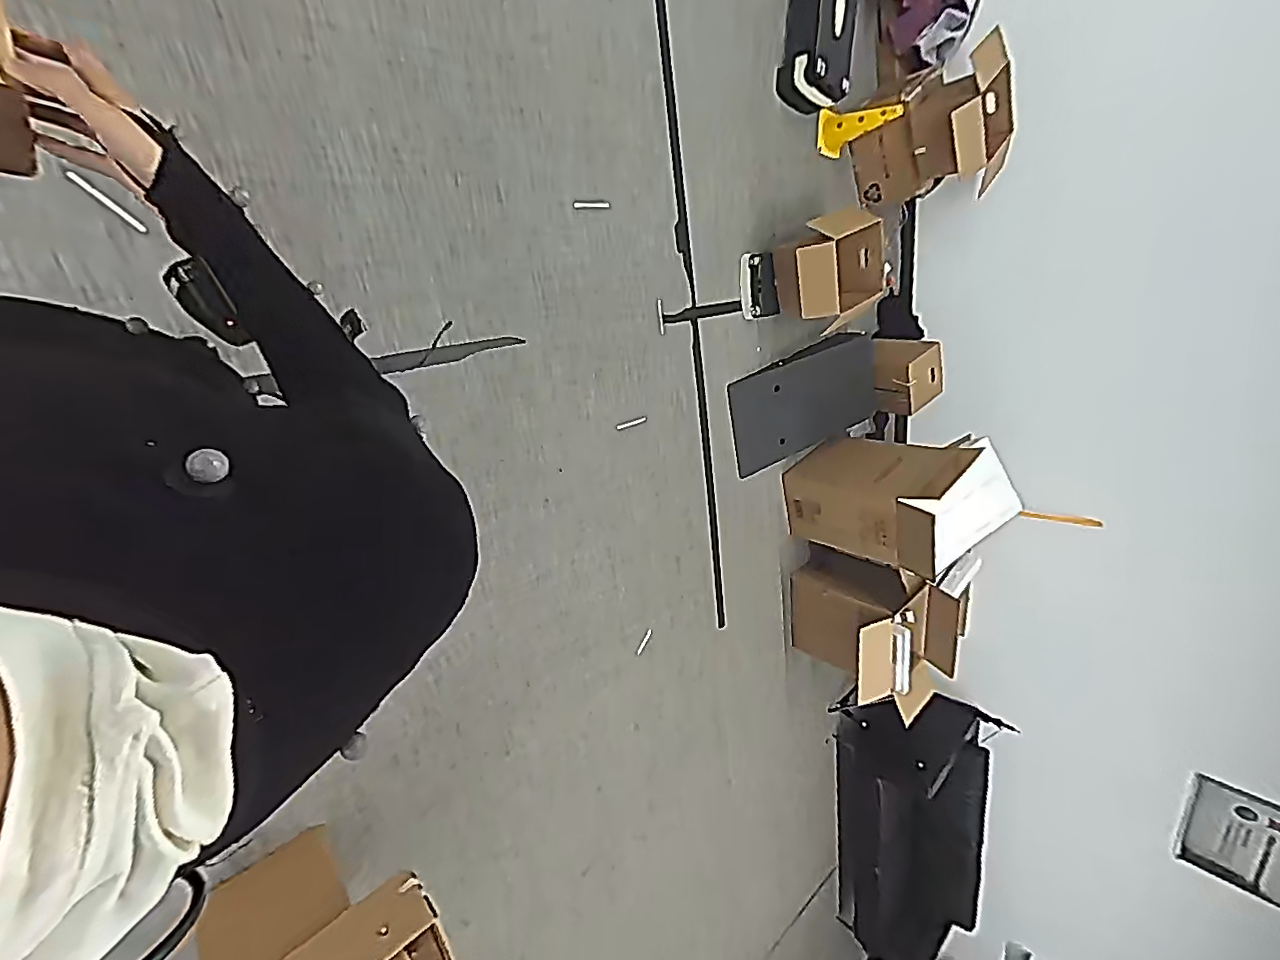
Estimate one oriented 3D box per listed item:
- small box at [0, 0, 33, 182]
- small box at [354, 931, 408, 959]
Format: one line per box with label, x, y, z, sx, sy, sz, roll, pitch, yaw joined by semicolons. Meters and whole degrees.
small box;-0.571;-0.350;0.382;0.168;0.176;0.179;-12;98;-45
small box;-0.647;1.283;1.324;0.179;0.176;0.168;-29;120;-36
